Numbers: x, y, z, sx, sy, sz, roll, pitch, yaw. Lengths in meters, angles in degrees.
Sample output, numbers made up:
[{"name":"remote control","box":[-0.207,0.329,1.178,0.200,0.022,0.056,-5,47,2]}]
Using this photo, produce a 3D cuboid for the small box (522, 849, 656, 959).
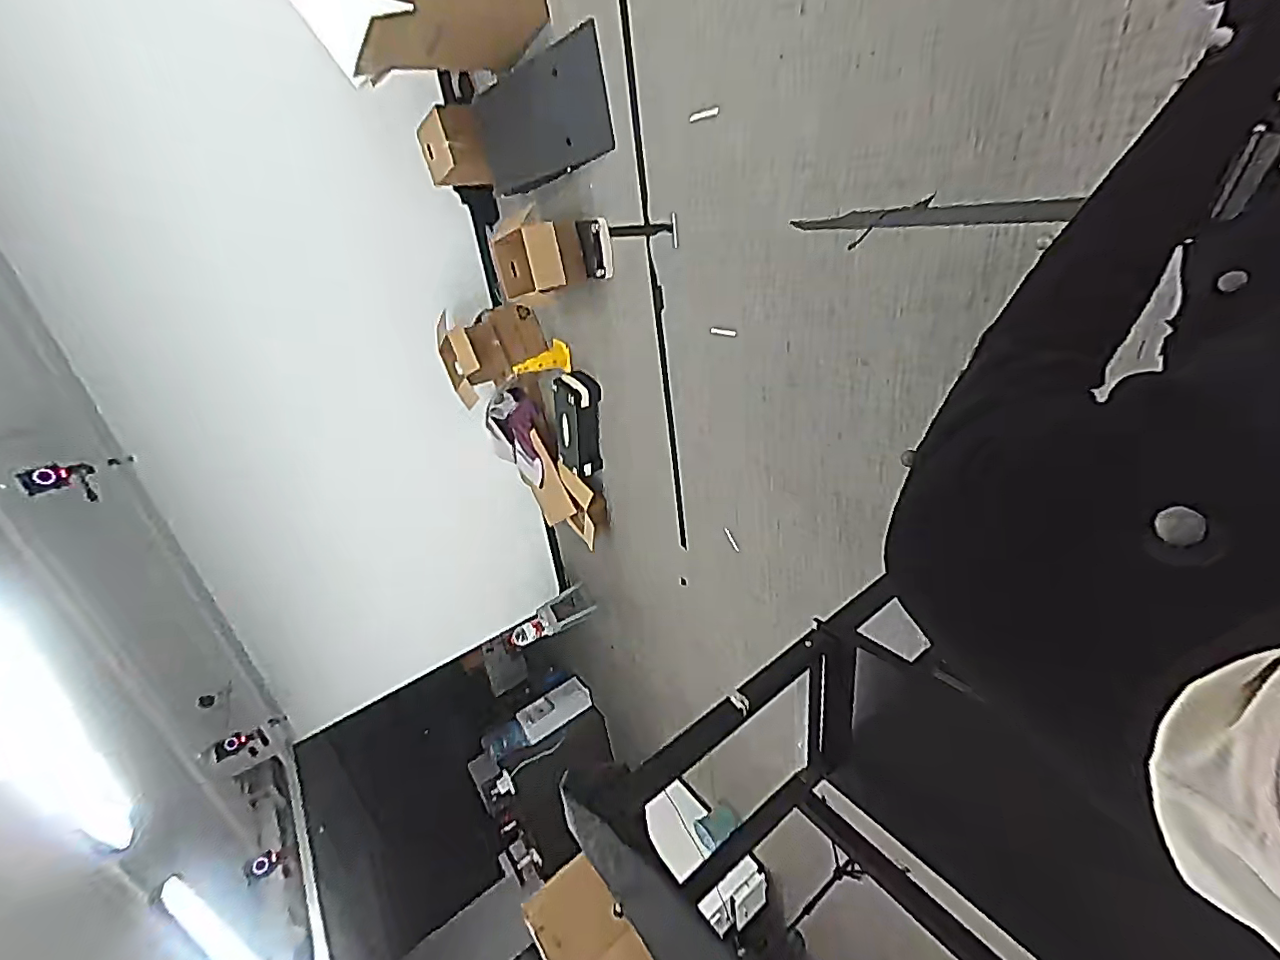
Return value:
[{"name":"small box","box":[-0.090,0.844,1.005,0.168,0.176,0.179,23,131,50]}]
